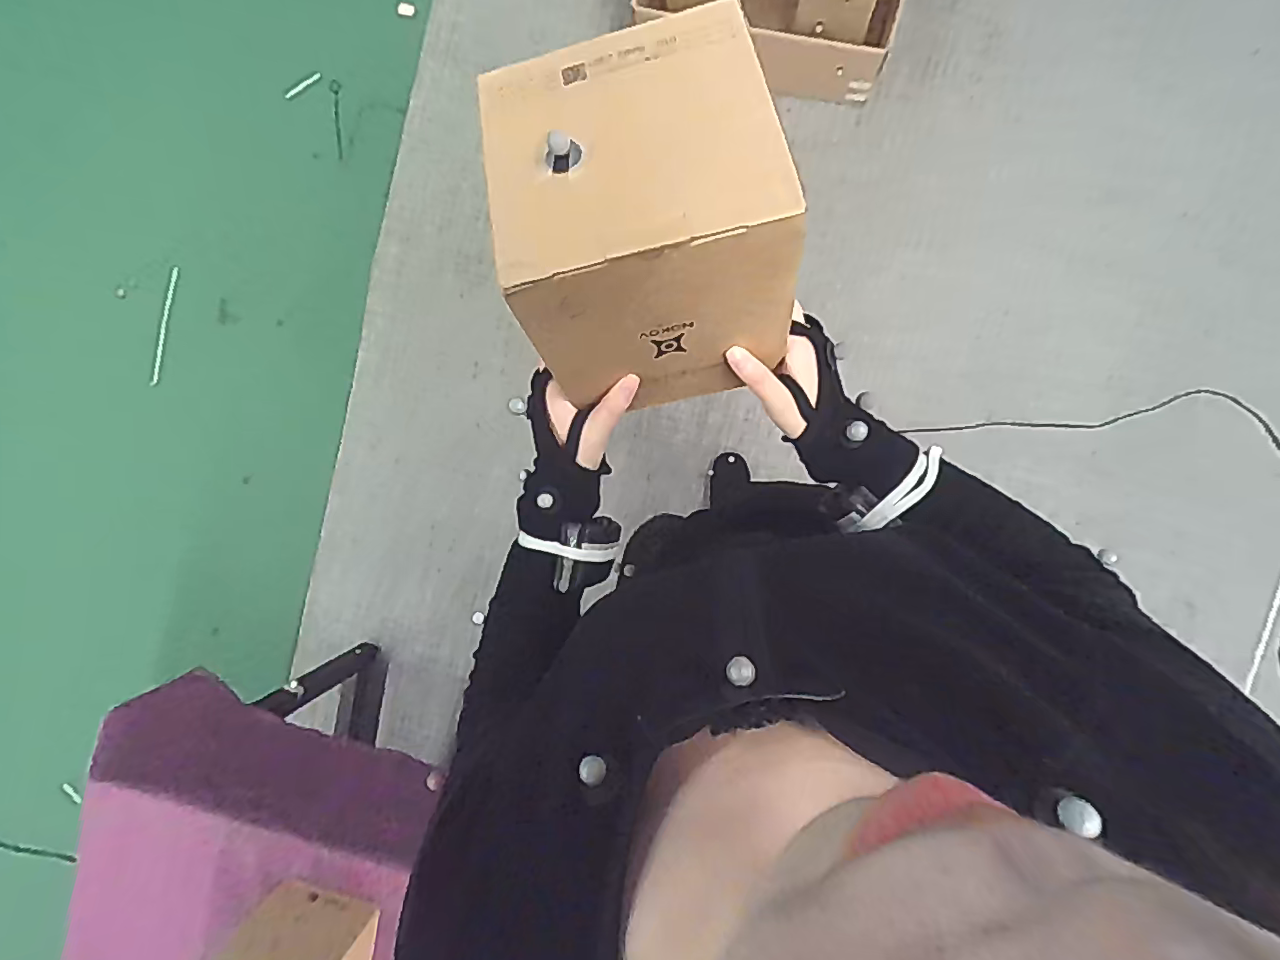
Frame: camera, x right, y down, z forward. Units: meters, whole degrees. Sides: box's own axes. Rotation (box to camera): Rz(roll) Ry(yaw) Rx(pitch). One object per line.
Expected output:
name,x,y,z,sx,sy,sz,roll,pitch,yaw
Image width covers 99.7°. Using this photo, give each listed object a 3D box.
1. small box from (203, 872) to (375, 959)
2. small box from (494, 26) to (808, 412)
small box,-0.523,0.744,0.804,0.168,0.176,0.179,12,95,5
small box,0.006,-0.173,0.385,0.168,0.179,0.176,-11,72,6
